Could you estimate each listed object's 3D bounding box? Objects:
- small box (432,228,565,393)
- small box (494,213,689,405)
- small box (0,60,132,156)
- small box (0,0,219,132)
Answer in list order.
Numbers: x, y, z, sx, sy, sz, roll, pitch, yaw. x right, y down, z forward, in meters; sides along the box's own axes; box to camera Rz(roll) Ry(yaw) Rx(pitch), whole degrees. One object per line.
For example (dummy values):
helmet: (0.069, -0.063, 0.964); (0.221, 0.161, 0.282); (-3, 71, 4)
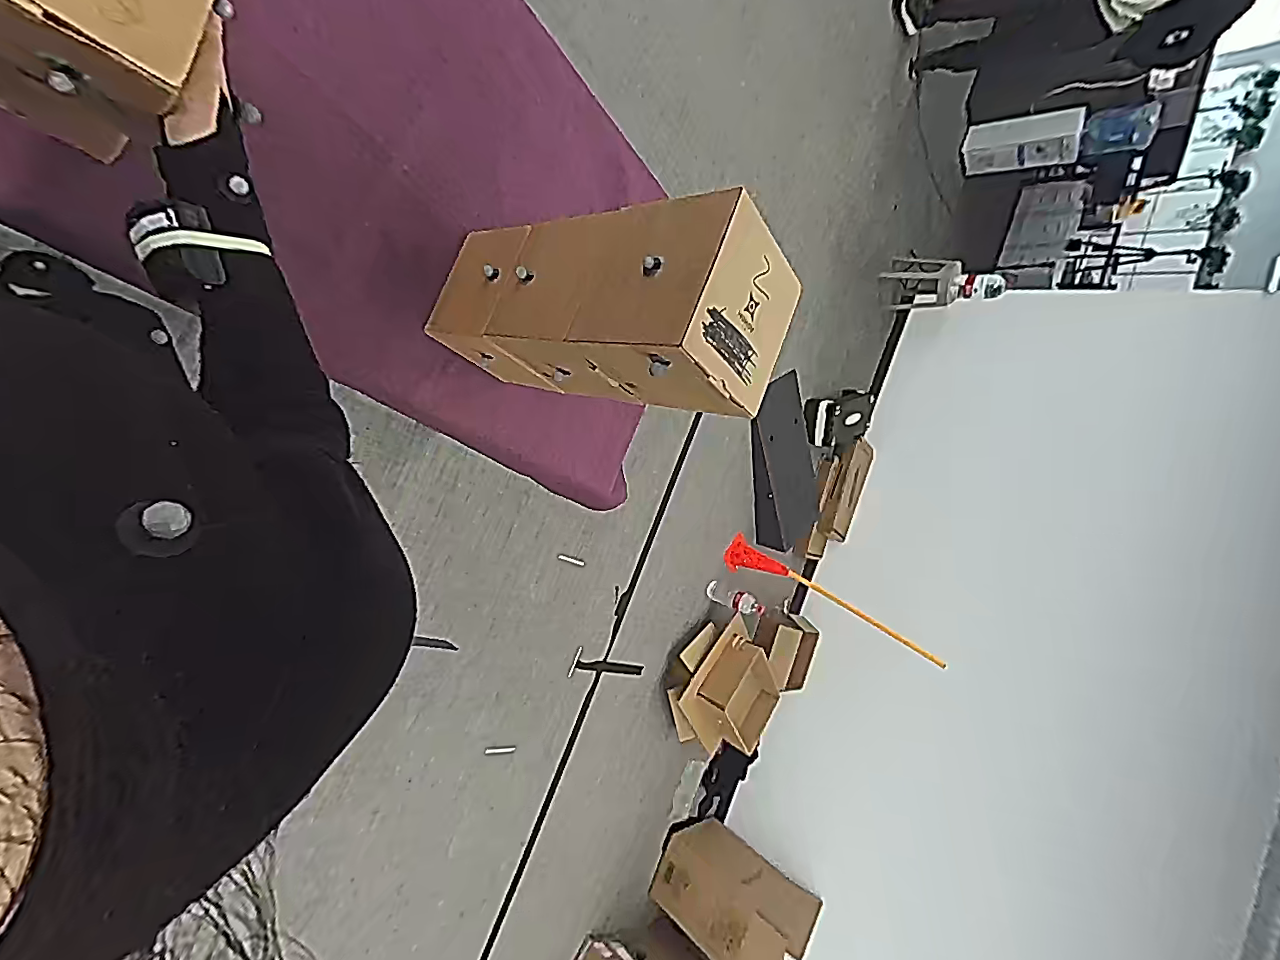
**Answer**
small box: (-0.192, -0.255, 0.835); (0.168, 0.176, 0.179); (30, 79, -49)
small box: (-0.069, -0.224, 0.731); (0.168, 0.176, 0.179); (31, 79, -49)
small box: (-0.489, -0.398, 0.434); (0.168, 0.176, 0.179); (24, 83, -51)
small box: (-0.369, -0.356, 0.332); (0.168, 0.176, 0.179); (19, 87, -52)
